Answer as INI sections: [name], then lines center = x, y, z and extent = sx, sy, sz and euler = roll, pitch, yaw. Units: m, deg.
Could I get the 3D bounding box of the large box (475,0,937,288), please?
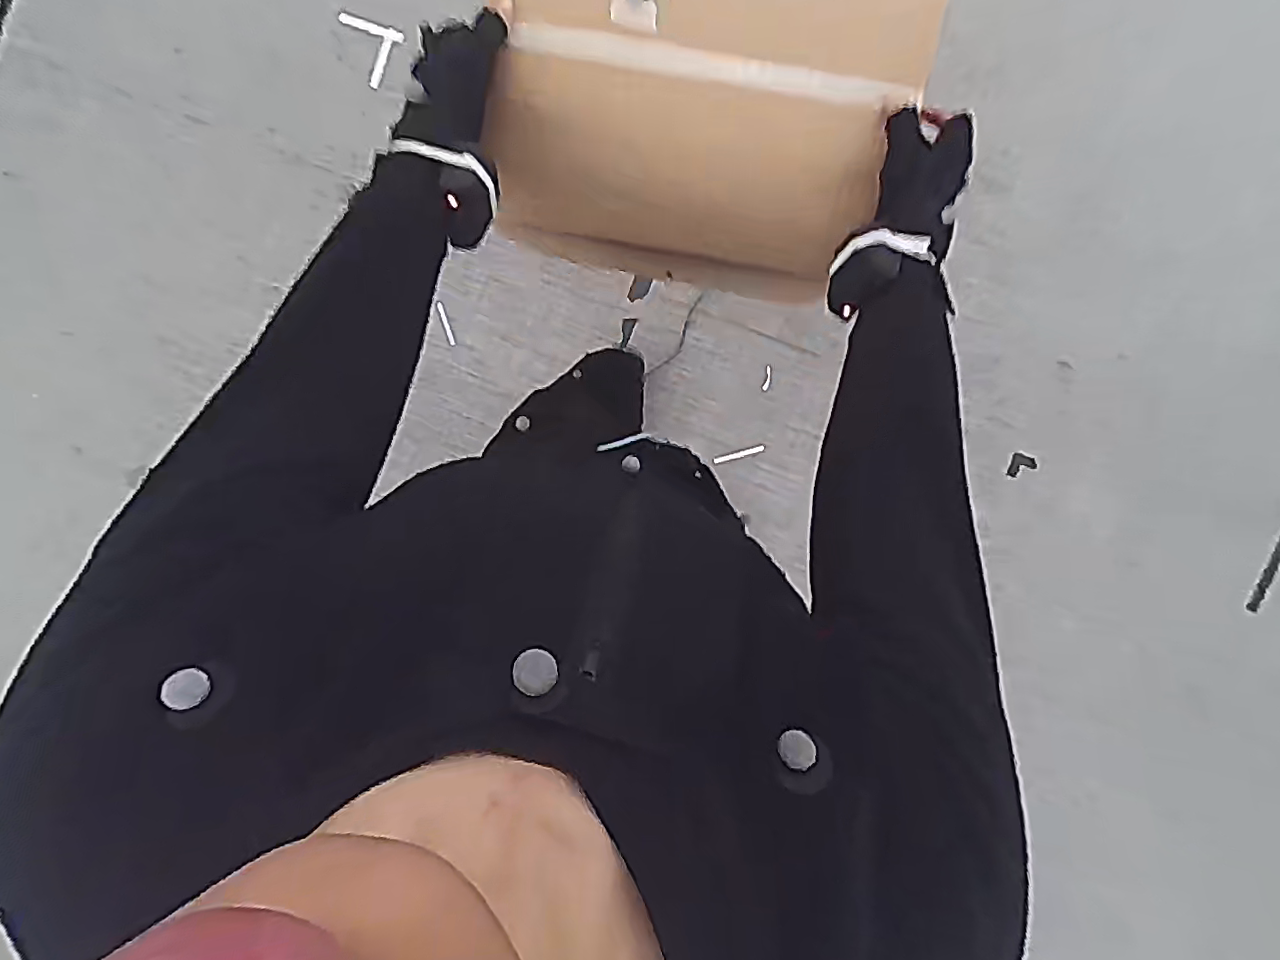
[large box]
center = 0.067, -0.426, 0.640
extent = 0.408, 0.320, 0.320
euler = 11, 105, 2
